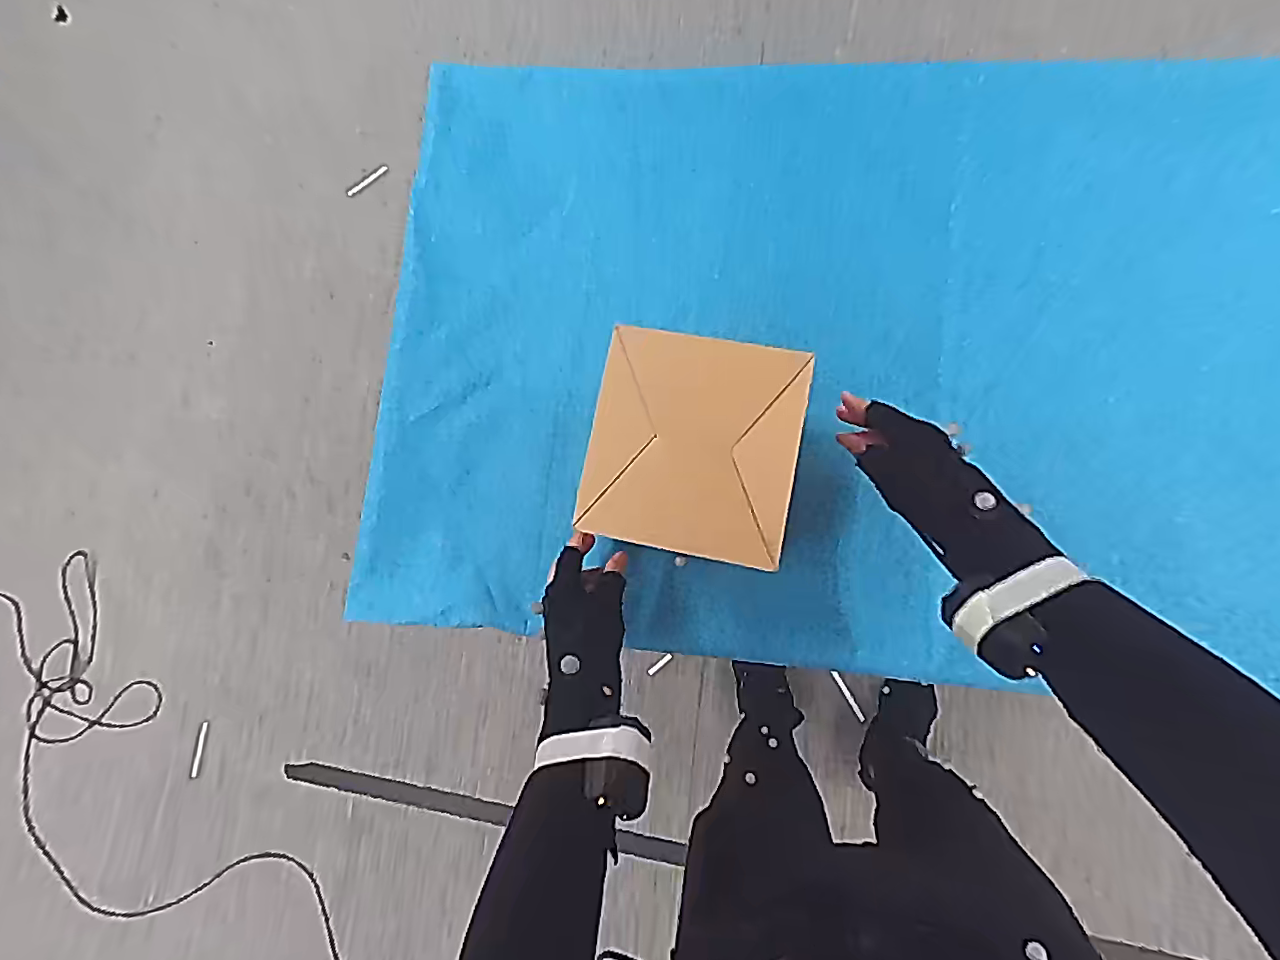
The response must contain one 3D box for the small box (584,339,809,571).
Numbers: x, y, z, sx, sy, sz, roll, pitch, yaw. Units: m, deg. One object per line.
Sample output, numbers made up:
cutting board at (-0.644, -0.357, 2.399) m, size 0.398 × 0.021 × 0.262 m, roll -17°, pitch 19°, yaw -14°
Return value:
small box at (0.055, -0.013, 0.515) m, size 0.168 × 0.176 × 0.179 m, roll 10°, pitch 84°, yaw 9°
